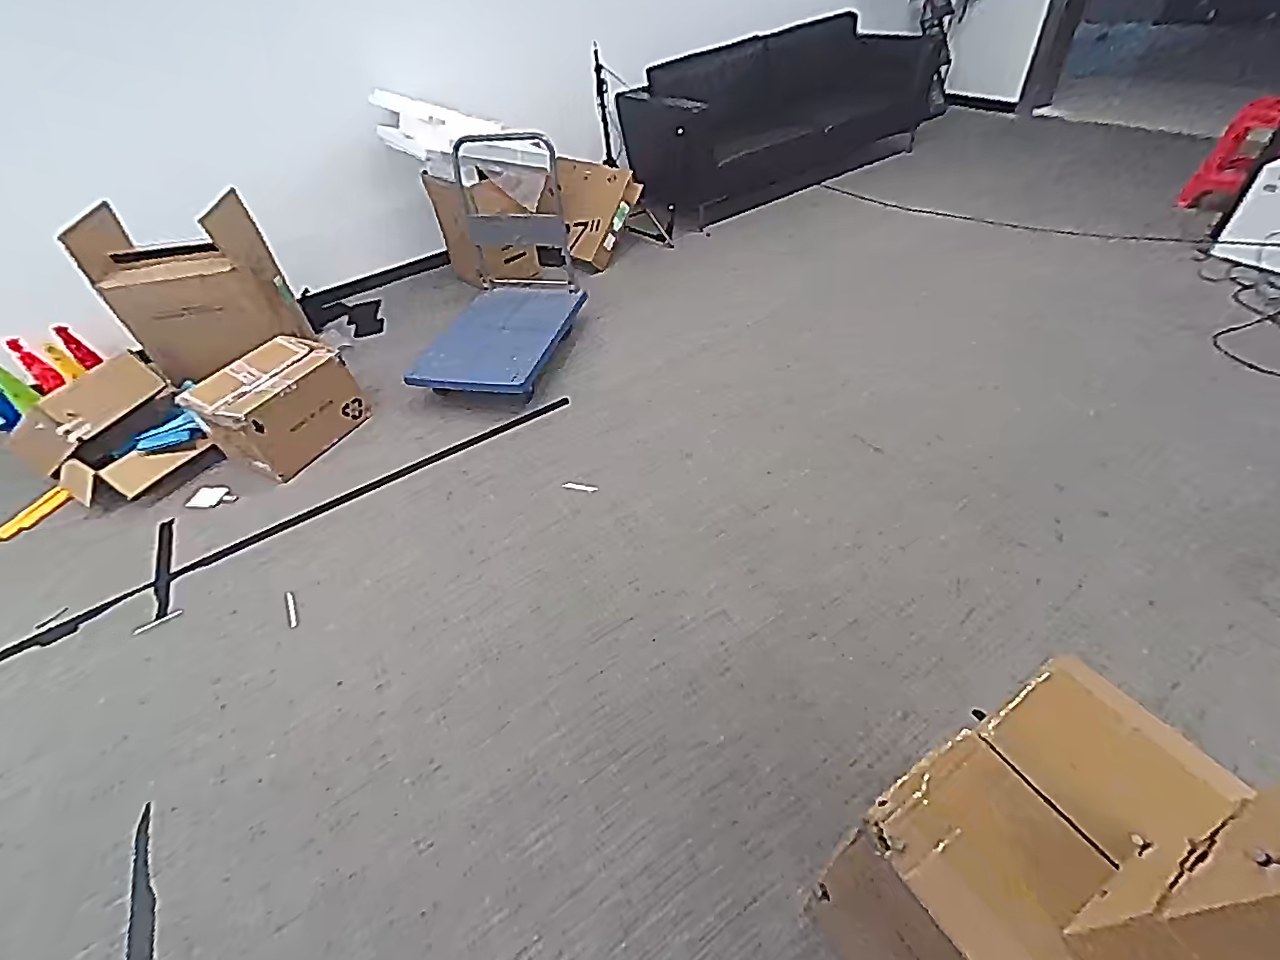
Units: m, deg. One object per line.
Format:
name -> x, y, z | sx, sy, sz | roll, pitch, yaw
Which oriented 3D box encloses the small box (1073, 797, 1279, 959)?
small box -> 0.545, 0.431, 0.478 | 0.168, 0.176, 0.179 | -27, 48, -17
